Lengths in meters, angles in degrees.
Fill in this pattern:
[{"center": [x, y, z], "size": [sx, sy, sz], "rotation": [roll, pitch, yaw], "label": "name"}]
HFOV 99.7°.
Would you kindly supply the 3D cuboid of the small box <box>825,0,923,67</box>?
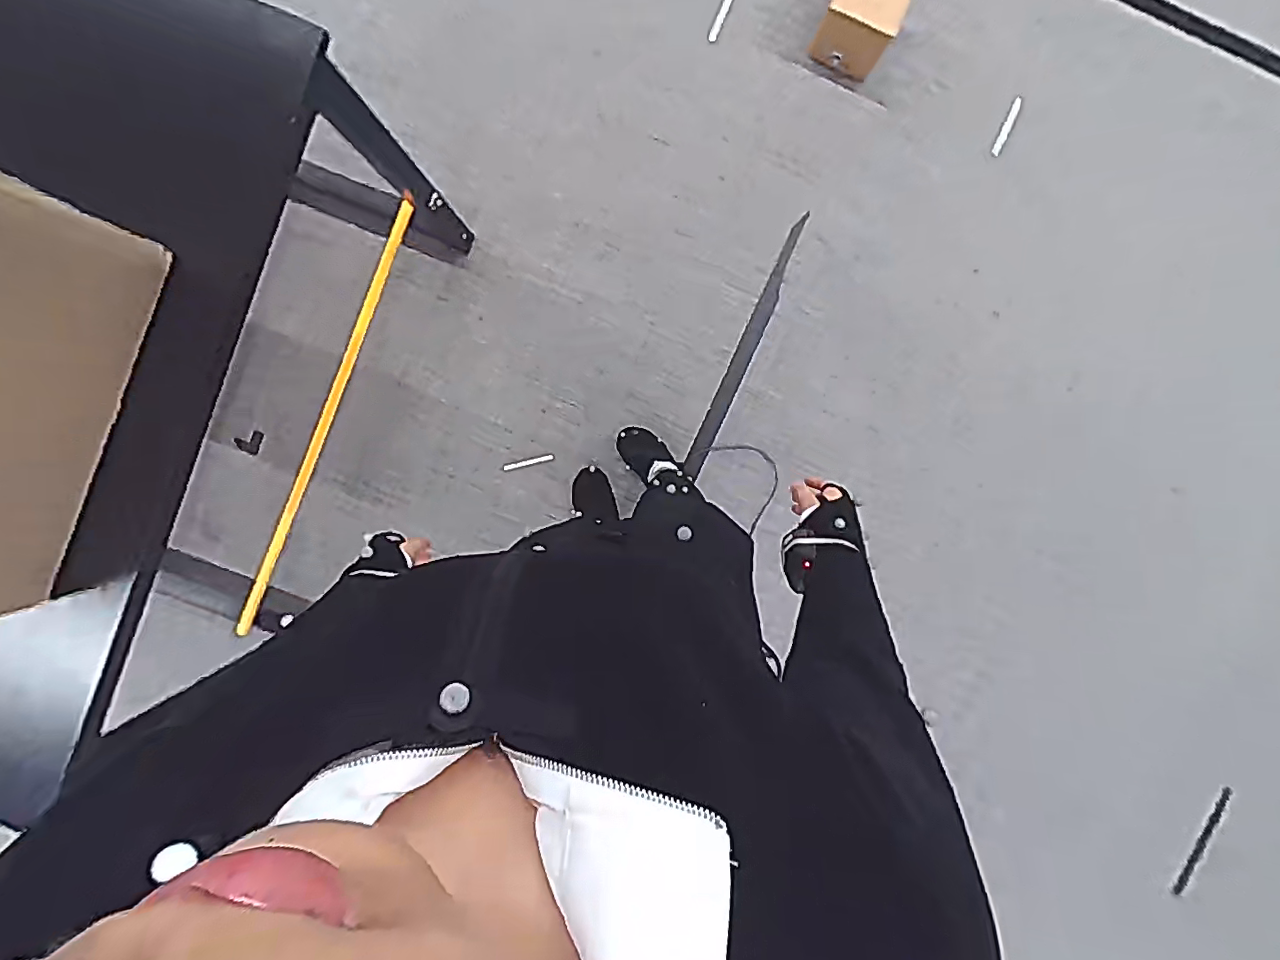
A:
[{"center": [0.550, -1.113, 1.238], "size": [0.168, 0.176, 0.179], "rotation": [22, 95, -2], "label": "small box"}]
